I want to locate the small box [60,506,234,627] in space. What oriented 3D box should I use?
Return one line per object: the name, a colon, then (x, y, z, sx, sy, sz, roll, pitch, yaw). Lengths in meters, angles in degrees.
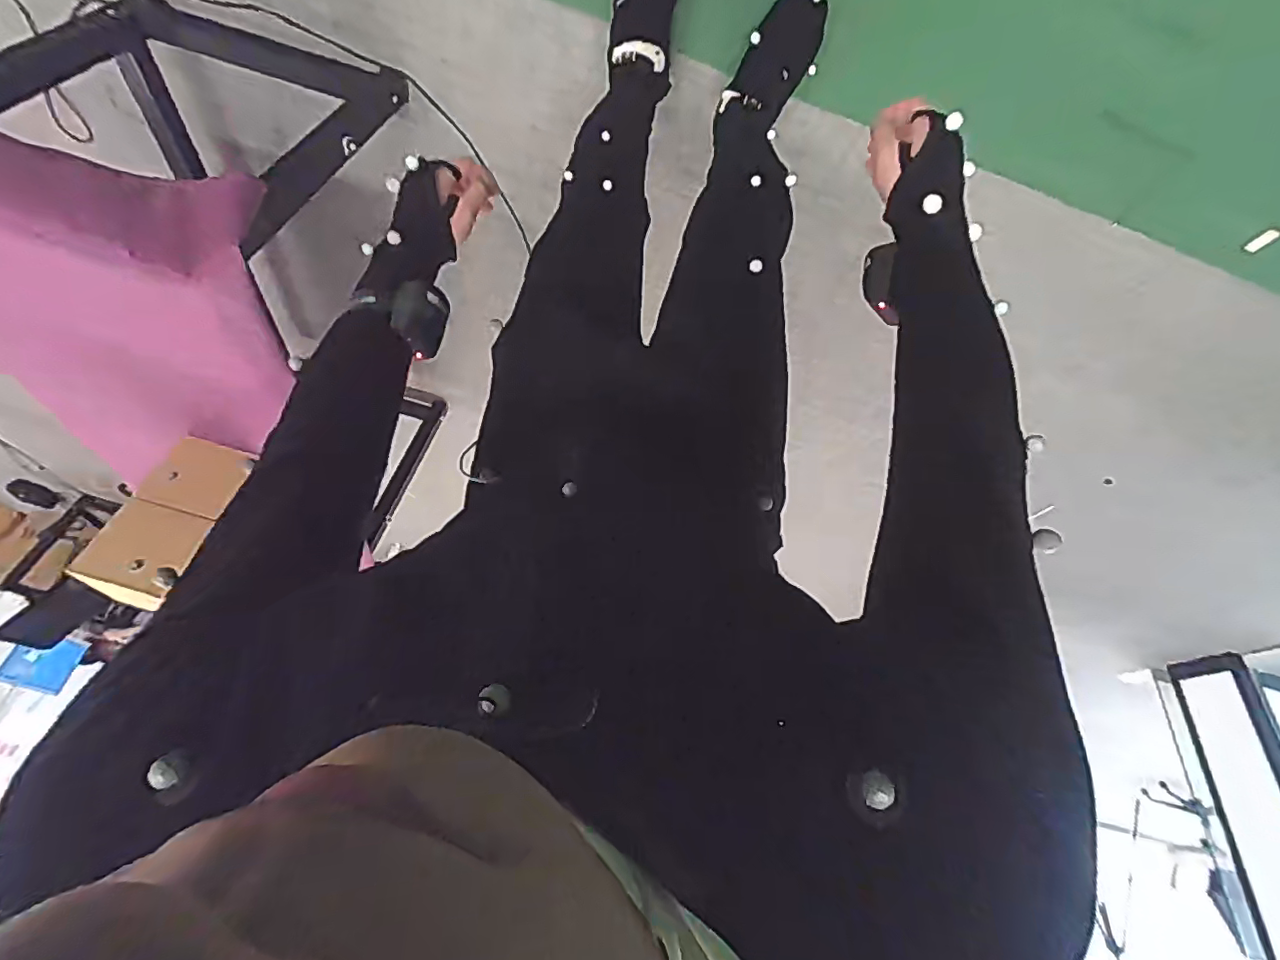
small box: (-0.970, 0.174, 1.092, 0.179, 0.176, 0.168, 18, 146, -4)
